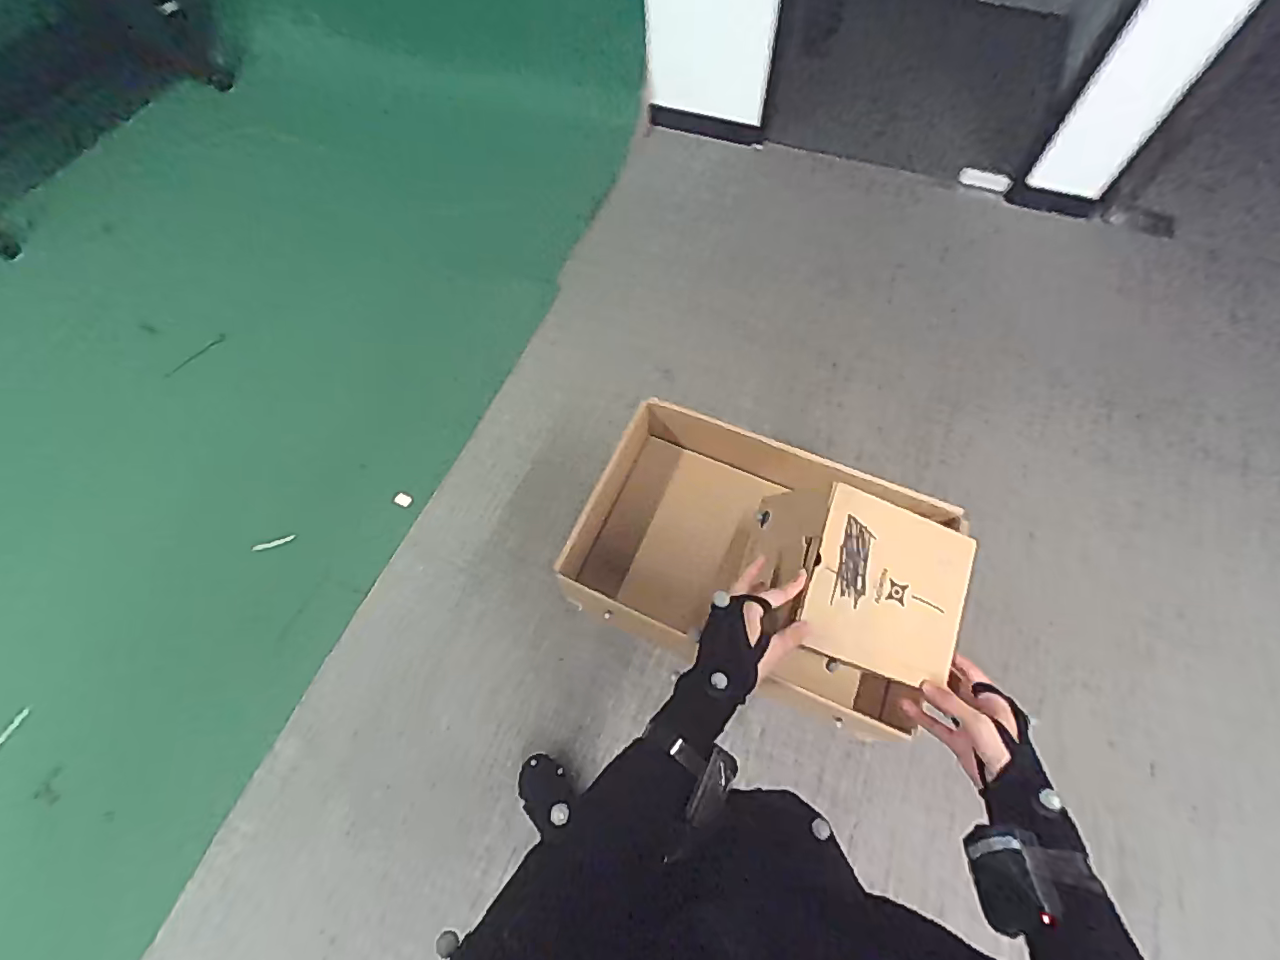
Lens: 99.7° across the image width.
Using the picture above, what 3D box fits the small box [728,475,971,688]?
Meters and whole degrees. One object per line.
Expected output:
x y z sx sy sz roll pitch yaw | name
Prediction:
0.221 0.112 0.606 0.179 0.176 0.168 21 77 -10 | small box
